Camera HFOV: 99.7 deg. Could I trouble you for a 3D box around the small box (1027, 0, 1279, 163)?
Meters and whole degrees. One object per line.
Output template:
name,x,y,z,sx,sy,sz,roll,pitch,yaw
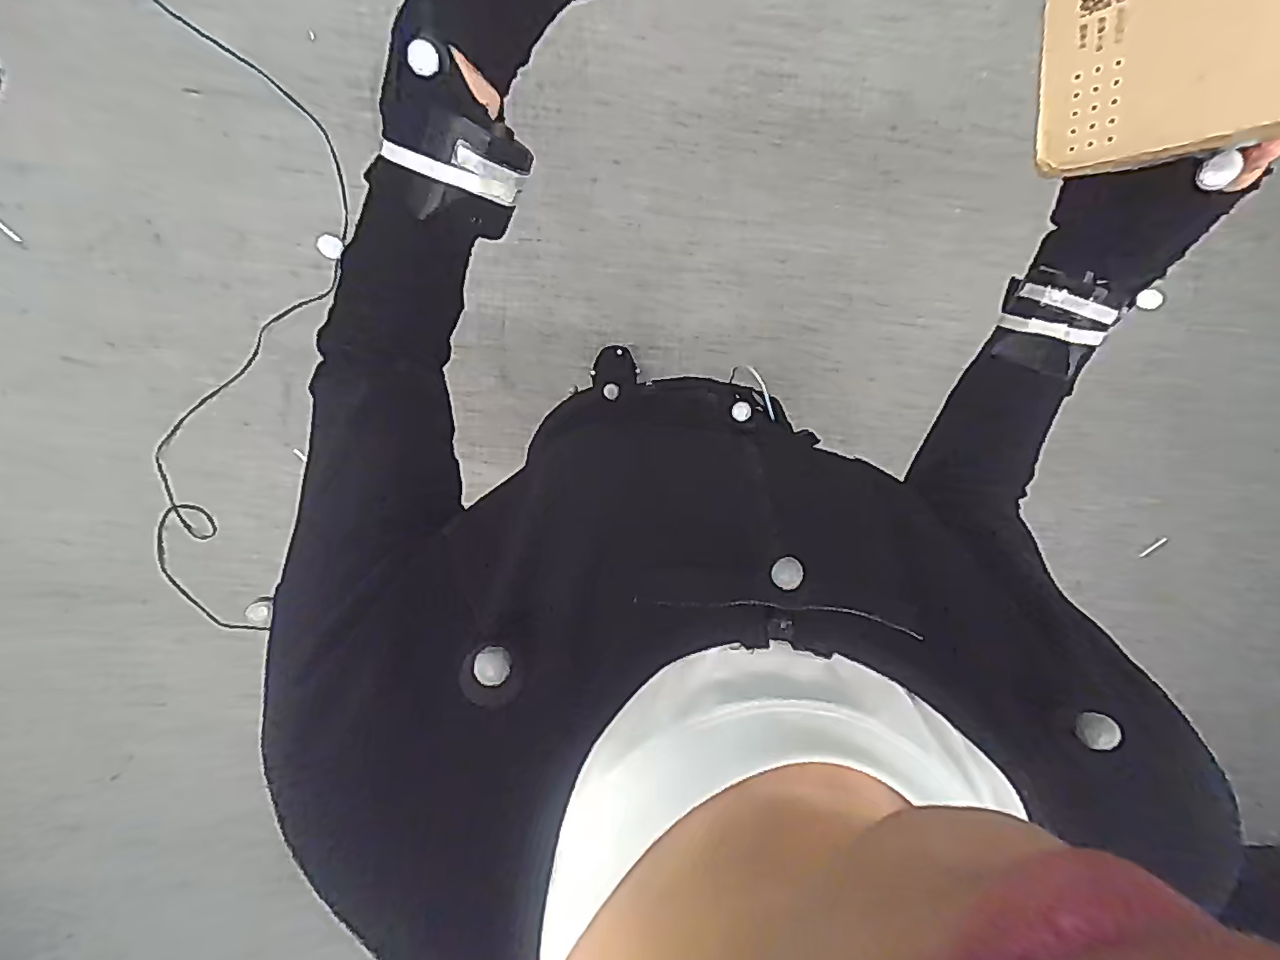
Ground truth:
small box,0.268,-0.221,0.181,0.179,0.176,0.168,-22,113,-29
